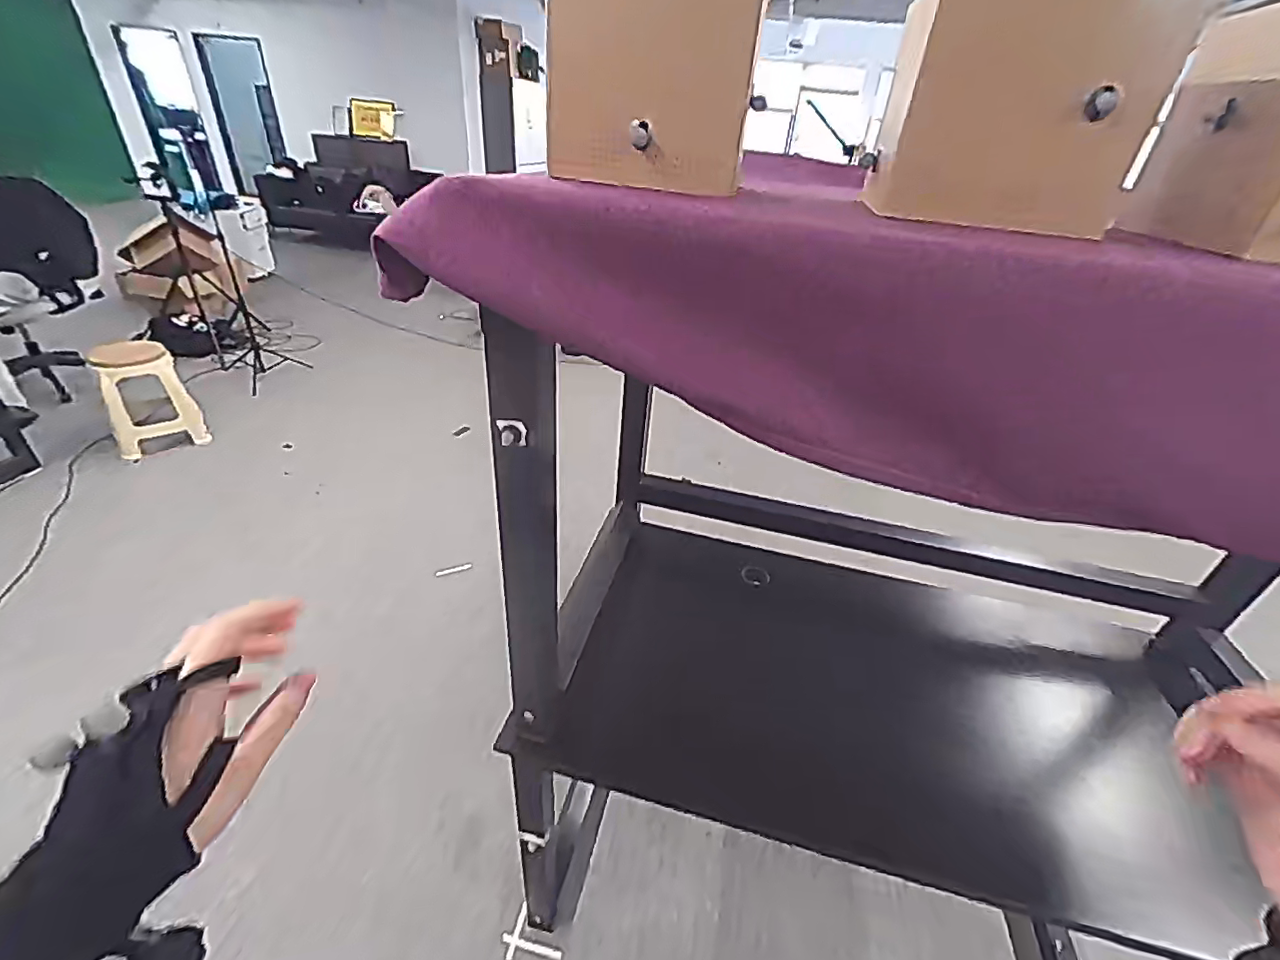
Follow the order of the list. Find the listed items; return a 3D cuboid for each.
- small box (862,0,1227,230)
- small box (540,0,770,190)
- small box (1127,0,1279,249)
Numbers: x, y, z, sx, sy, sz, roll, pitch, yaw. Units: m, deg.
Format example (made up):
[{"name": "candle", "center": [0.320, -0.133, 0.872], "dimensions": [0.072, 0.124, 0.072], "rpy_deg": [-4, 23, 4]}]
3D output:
[{"name": "small box", "center": [0.308, -0.316, 0.458], "dimensions": [0.179, 0.176, 0.168], "rpy_deg": [11, 33, 10]}, {"name": "small box", "center": [0.017, -0.373, 0.502], "dimensions": [0.179, 0.176, 0.168], "rpy_deg": [10, 33, 6]}, {"name": "small box", "center": [0.542, -0.265, 0.409], "dimensions": [0.168, 0.176, 0.179], "rpy_deg": [9, 32, 5]}]
